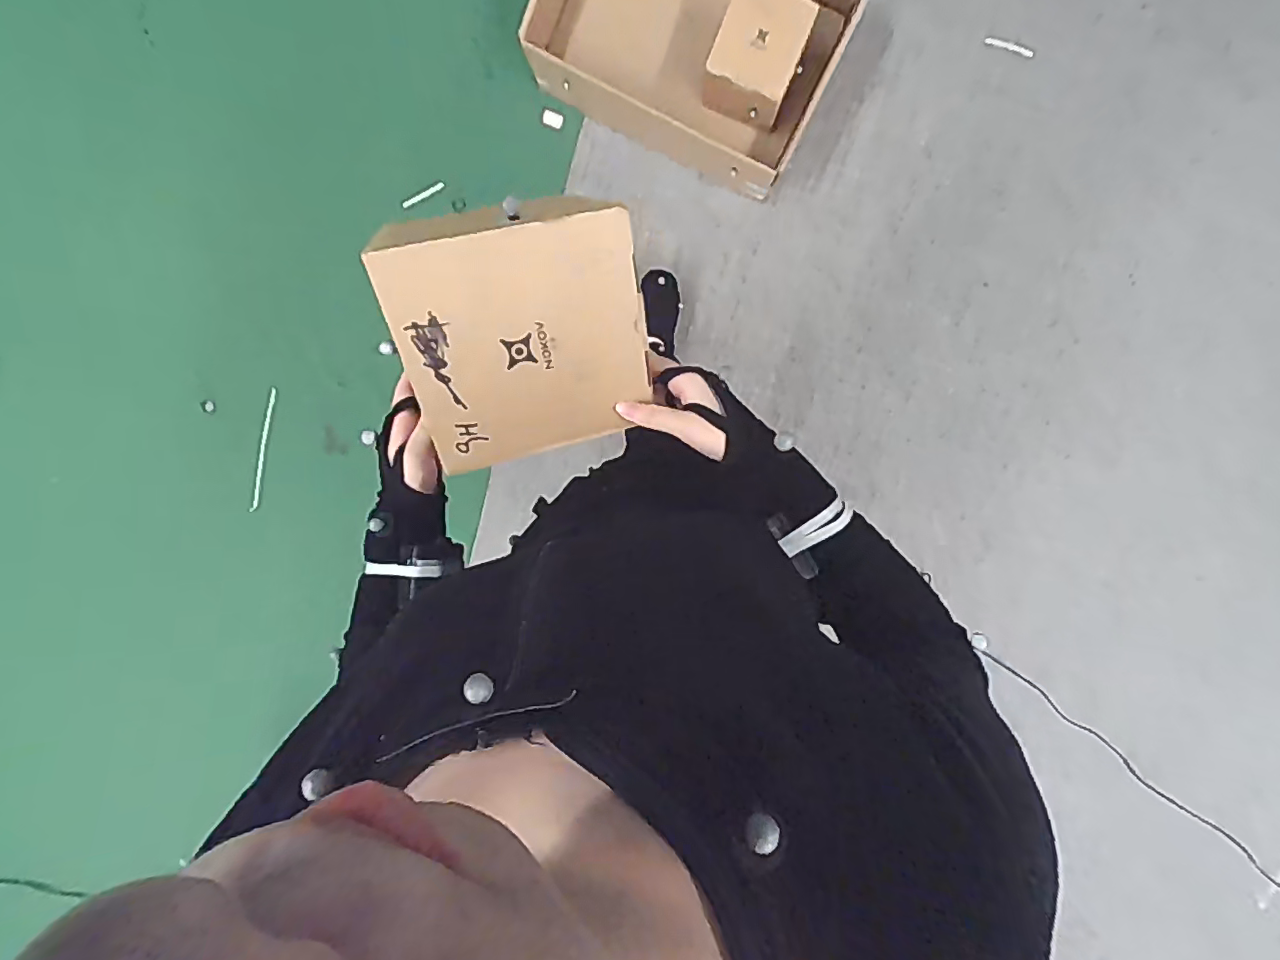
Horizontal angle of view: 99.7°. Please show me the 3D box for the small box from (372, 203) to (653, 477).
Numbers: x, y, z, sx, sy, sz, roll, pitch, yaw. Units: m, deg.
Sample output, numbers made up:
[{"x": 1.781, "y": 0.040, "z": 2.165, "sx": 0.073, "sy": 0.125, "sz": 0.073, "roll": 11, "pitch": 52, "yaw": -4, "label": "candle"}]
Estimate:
[{"x": -0.105, "y": -0.130, "z": 0.459, "sx": 0.179, "sy": 0.176, "sz": 0.168, "roll": -16, "pitch": 122, "yaw": -13, "label": "small box"}]
